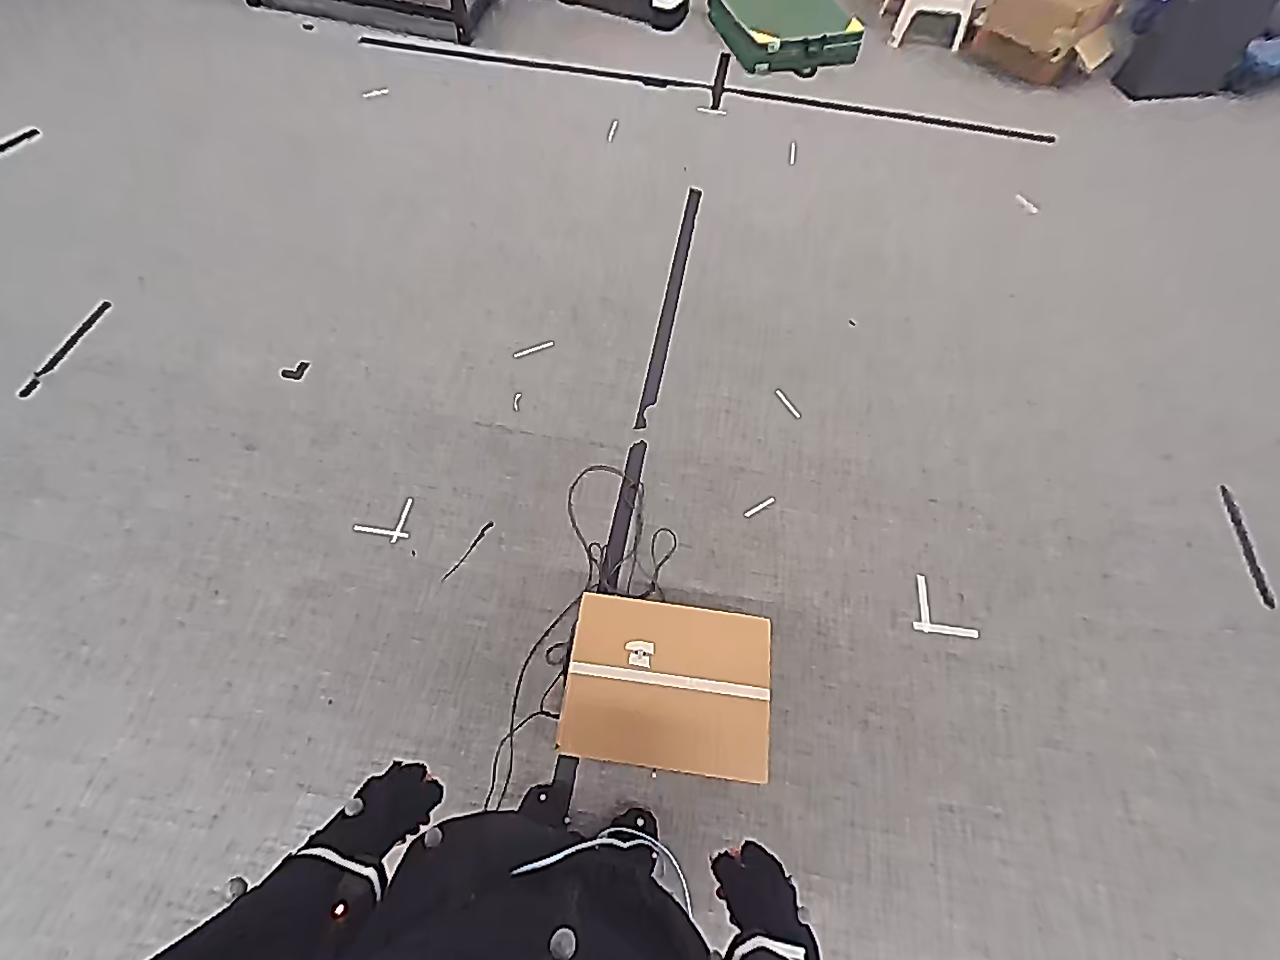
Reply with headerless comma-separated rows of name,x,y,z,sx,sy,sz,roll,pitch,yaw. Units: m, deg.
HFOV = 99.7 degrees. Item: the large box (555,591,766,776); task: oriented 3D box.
large box,0.050,0.463,1.216,0.408,0.320,0.320,8,61,2
